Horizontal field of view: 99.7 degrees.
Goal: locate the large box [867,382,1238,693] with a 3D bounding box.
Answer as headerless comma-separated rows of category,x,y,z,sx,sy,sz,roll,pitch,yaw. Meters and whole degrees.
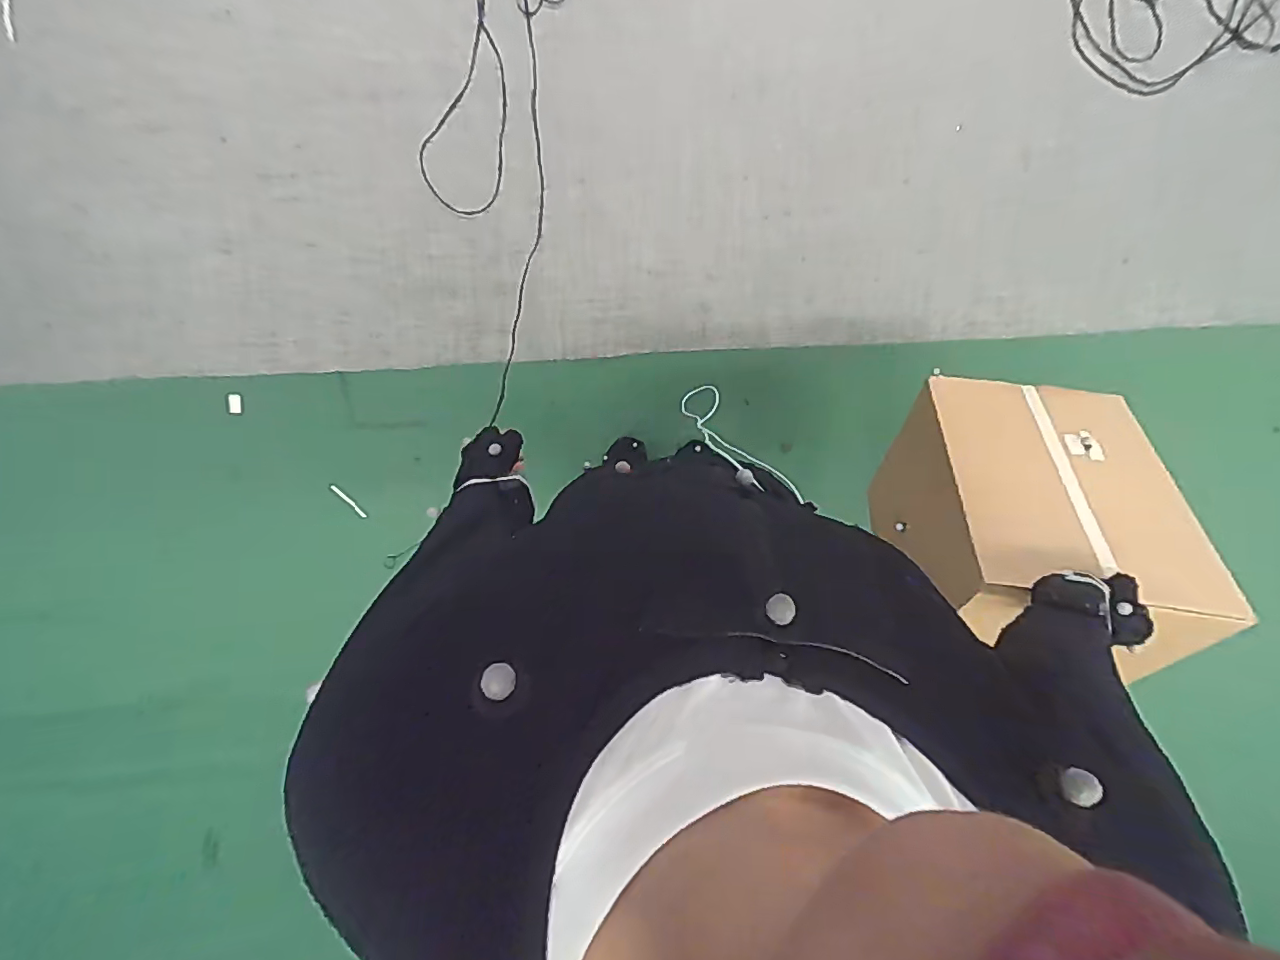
large box,0.605,0.092,0.907,0.320,0.320,0.408,8,50,5
